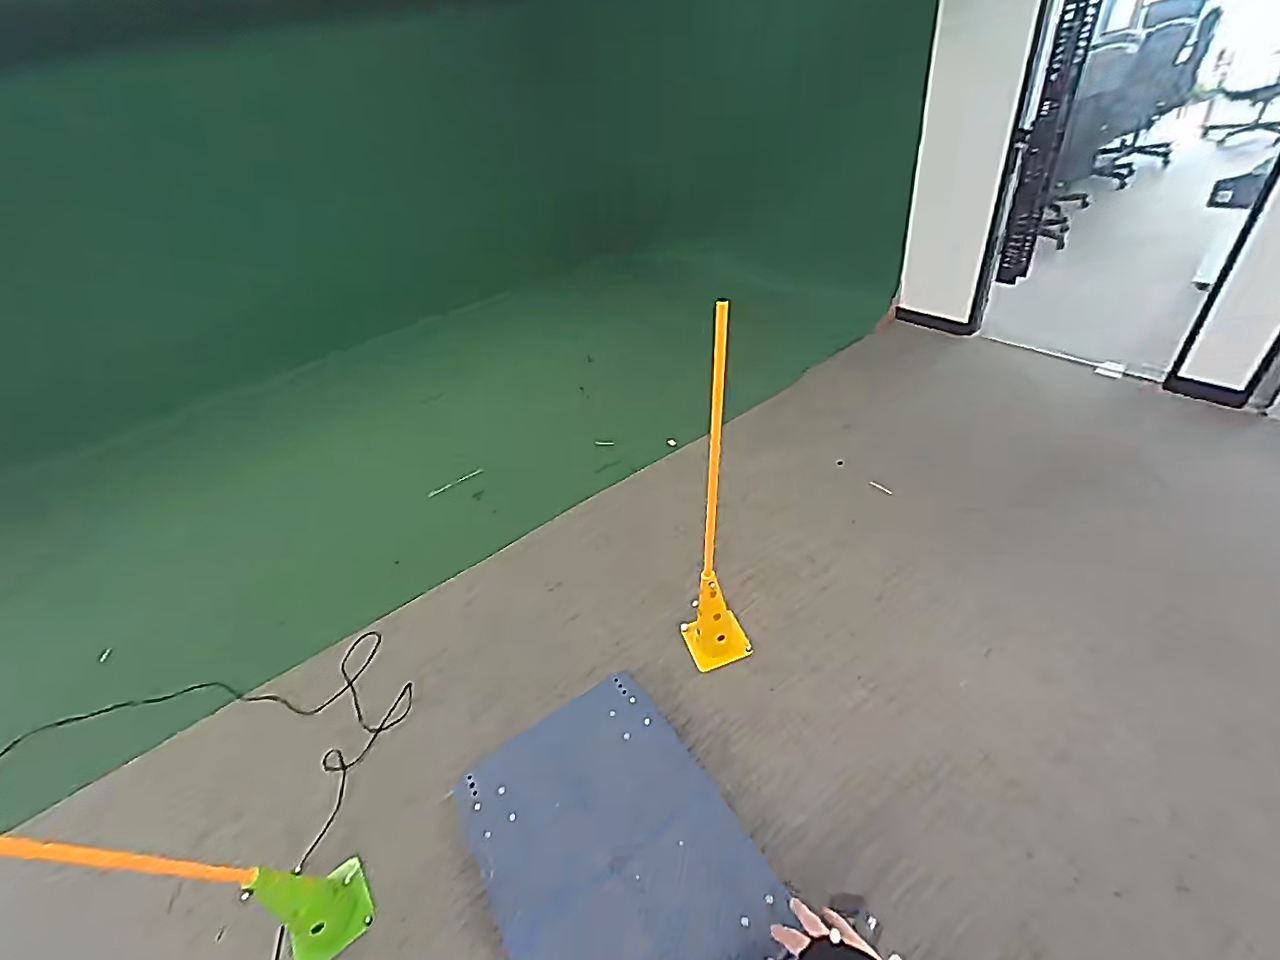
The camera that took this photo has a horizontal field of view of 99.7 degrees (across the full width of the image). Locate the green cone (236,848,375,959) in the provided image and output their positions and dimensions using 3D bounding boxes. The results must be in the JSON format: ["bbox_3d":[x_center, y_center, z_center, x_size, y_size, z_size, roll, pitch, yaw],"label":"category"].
[{"bbox_3d":[-0.866,1.020,1.352,0.202,0.368,0.200,-34,44,-22],"label":"green cone"}]
